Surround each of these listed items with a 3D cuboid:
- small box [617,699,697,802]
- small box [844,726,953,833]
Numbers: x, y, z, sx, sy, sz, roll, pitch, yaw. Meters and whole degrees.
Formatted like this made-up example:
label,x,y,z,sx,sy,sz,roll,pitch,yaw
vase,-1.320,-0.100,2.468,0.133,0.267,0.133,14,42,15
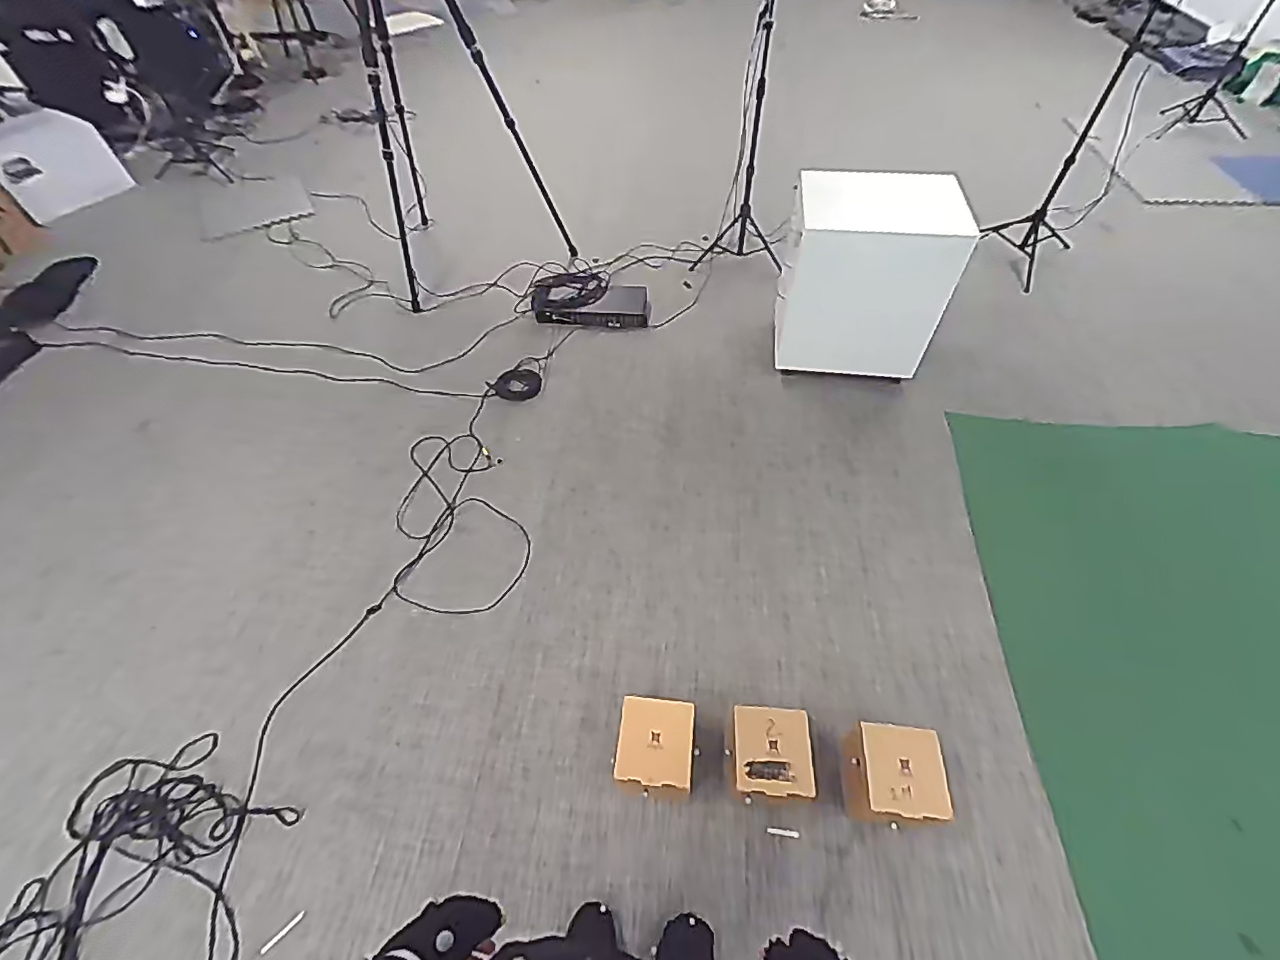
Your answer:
label,x,y,z,sx,sy,sz,roll,pitch,yaw
small box,0.043,0.637,1.270,0.168,0.176,0.179,4,53,7
small box,0.569,0.676,1.218,0.168,0.176,0.179,4,53,6
